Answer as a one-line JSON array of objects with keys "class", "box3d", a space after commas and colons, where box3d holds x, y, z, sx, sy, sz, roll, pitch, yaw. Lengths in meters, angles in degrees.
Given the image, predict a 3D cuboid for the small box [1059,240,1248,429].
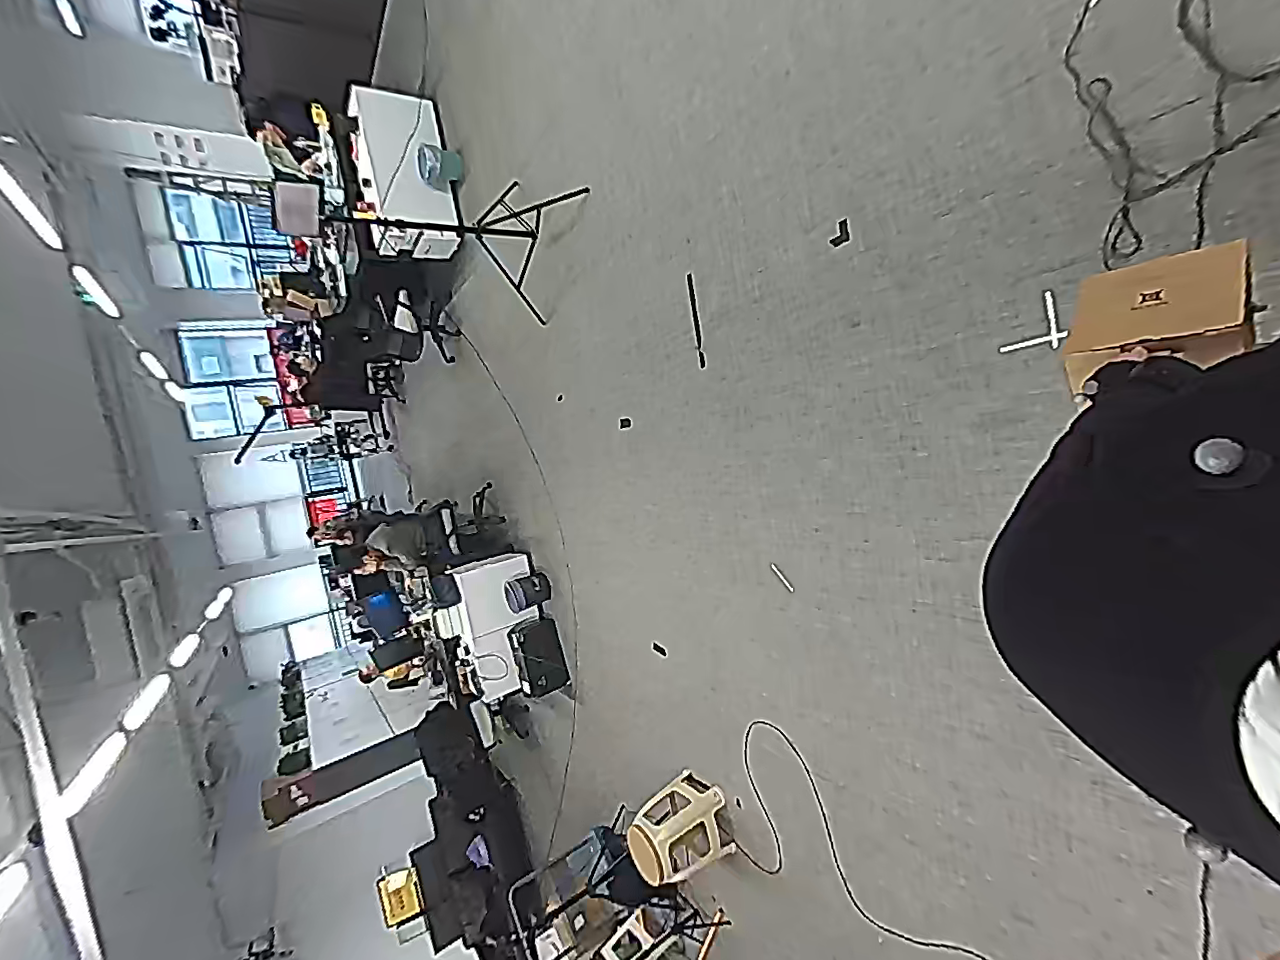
[{"class": "small box", "box3d": [0.709, -0.184, 0.744, 0.168, 0.179, 0.176, -1, 139, 50]}]
